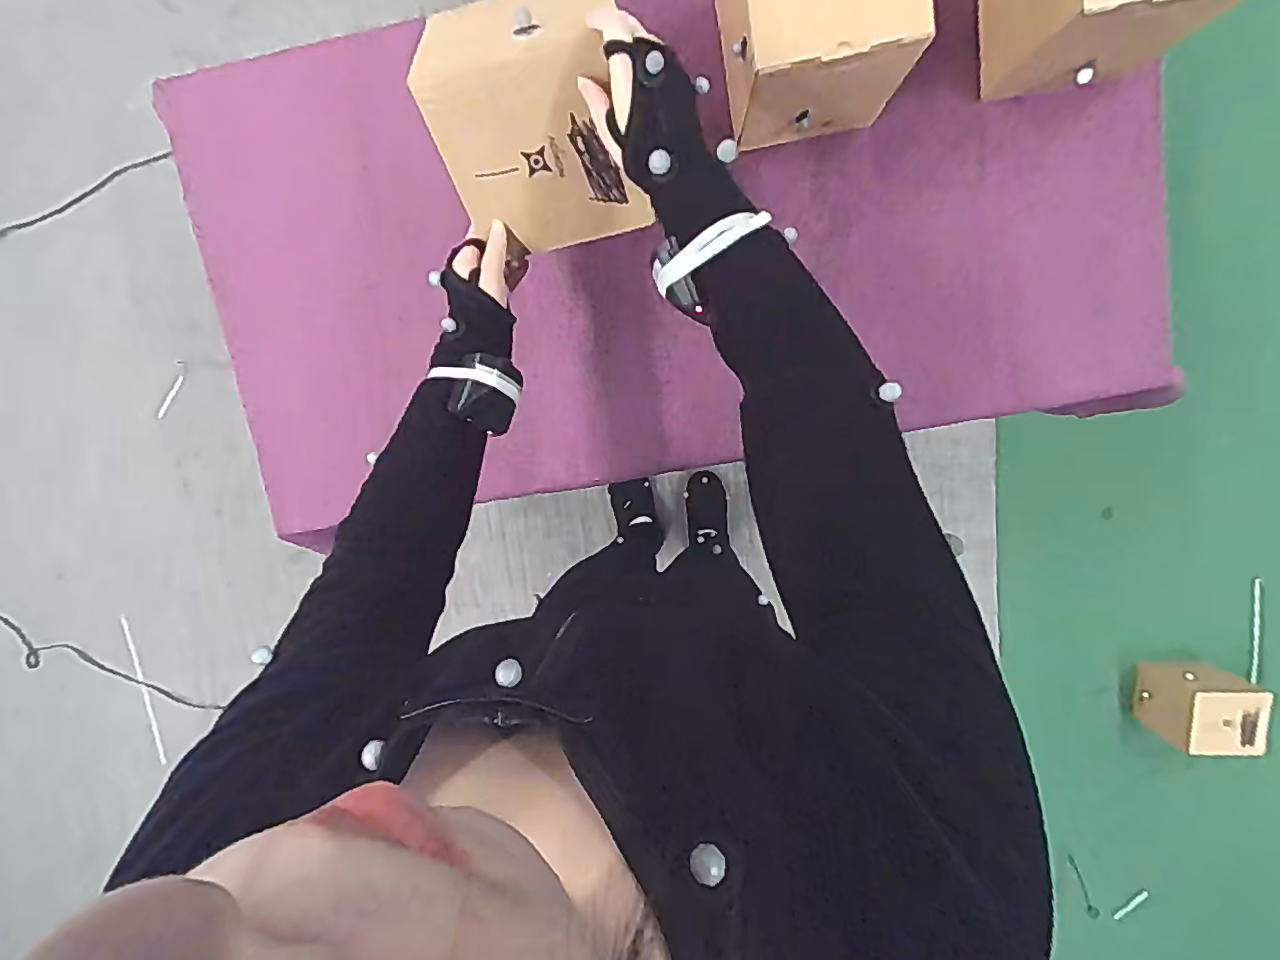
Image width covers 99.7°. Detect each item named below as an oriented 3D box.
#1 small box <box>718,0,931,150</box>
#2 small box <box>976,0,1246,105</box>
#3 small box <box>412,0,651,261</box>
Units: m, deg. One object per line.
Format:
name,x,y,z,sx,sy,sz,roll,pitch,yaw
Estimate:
small box,0.179,-0.489,0.571,0.168,0.176,0.179,-9,99,5
small box,0.465,-0.522,0.542,0.168,0.176,0.179,-6,101,5
small box,-0.095,-0.352,0.534,0.179,0.168,0.176,-11,54,5
